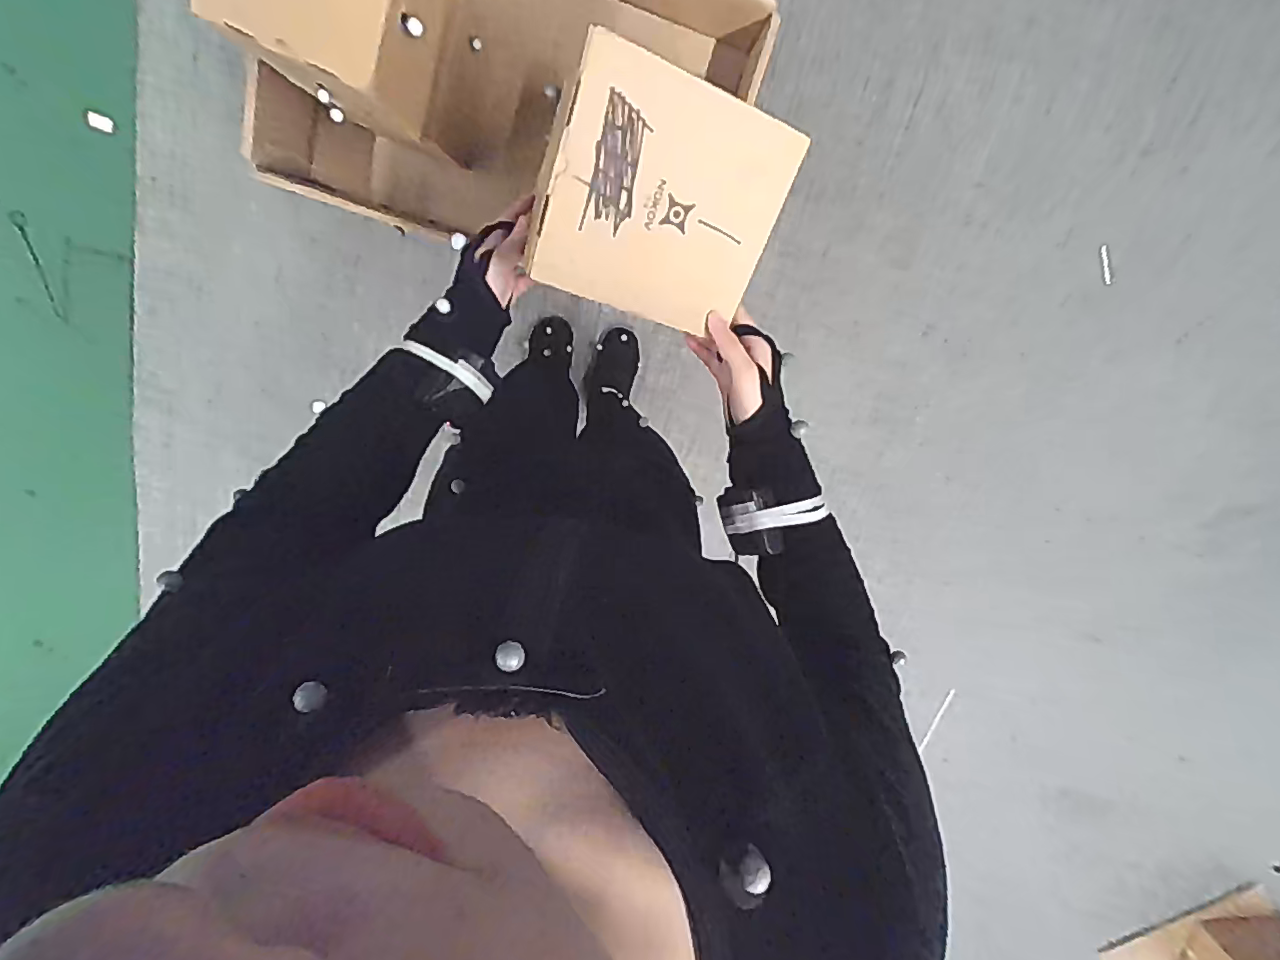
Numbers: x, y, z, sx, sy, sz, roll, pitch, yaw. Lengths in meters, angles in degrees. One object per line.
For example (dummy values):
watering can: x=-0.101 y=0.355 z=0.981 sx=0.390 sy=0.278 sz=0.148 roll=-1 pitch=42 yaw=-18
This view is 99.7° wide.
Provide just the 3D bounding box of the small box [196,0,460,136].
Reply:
small box: x=-0.304 y=-0.502 z=0.562 sx=0.168 sy=0.176 sz=0.179 roll=21 pitch=107 yaw=-9

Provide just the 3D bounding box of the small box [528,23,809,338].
small box: x=0.005 y=-0.249 z=0.478 sx=0.179 sy=0.176 sz=0.168 roll=13 pitch=116 yaw=-21
